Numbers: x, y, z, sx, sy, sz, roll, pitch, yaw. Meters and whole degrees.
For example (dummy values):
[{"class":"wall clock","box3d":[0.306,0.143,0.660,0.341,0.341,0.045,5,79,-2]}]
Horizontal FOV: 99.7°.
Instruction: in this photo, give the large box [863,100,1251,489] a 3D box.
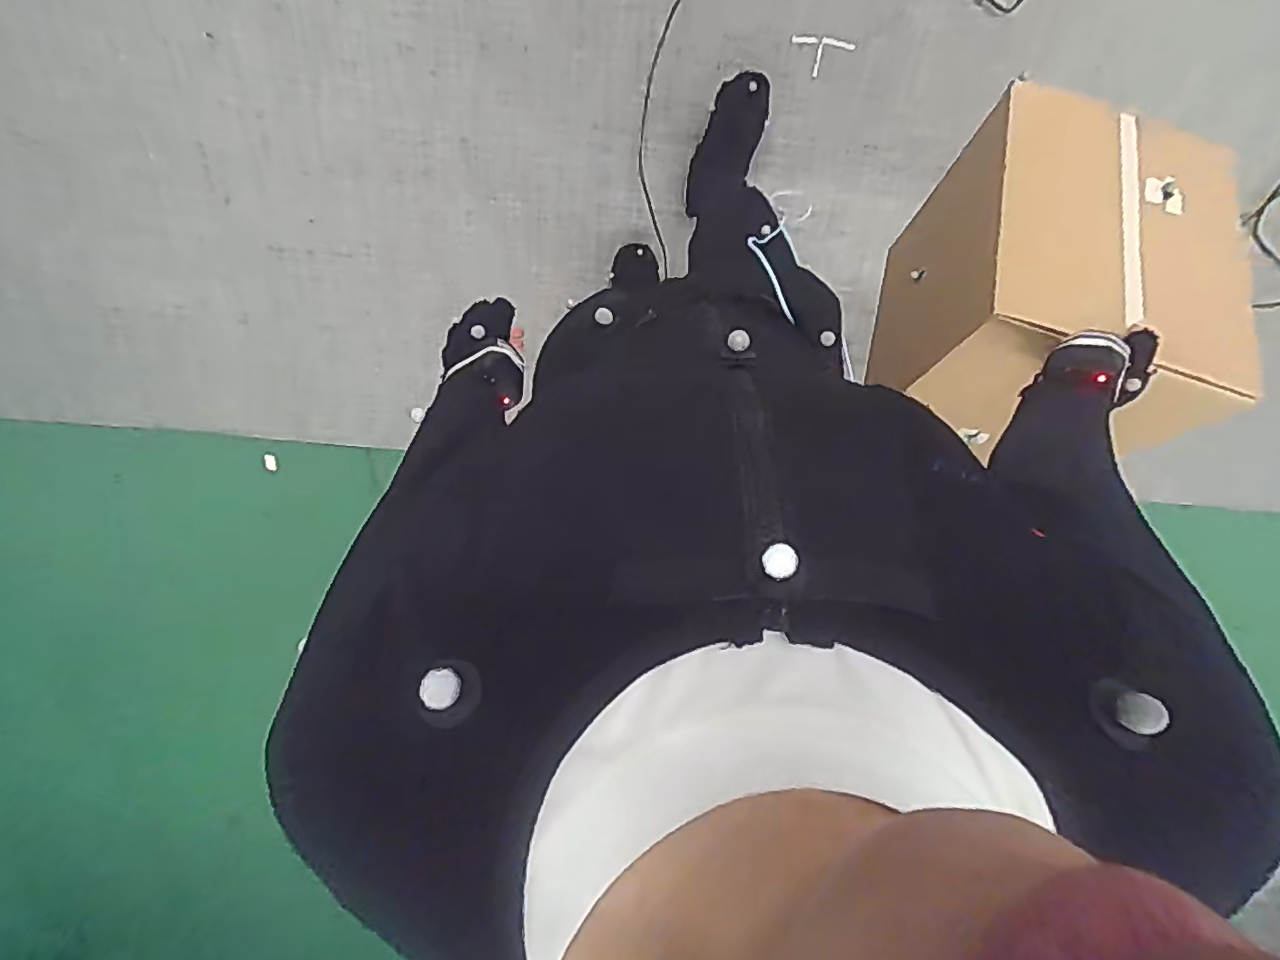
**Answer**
[{"class":"large box","box3d":[0.569,-0.250,0.808,0.320,0.408,0.320,18,159,-1]}]
